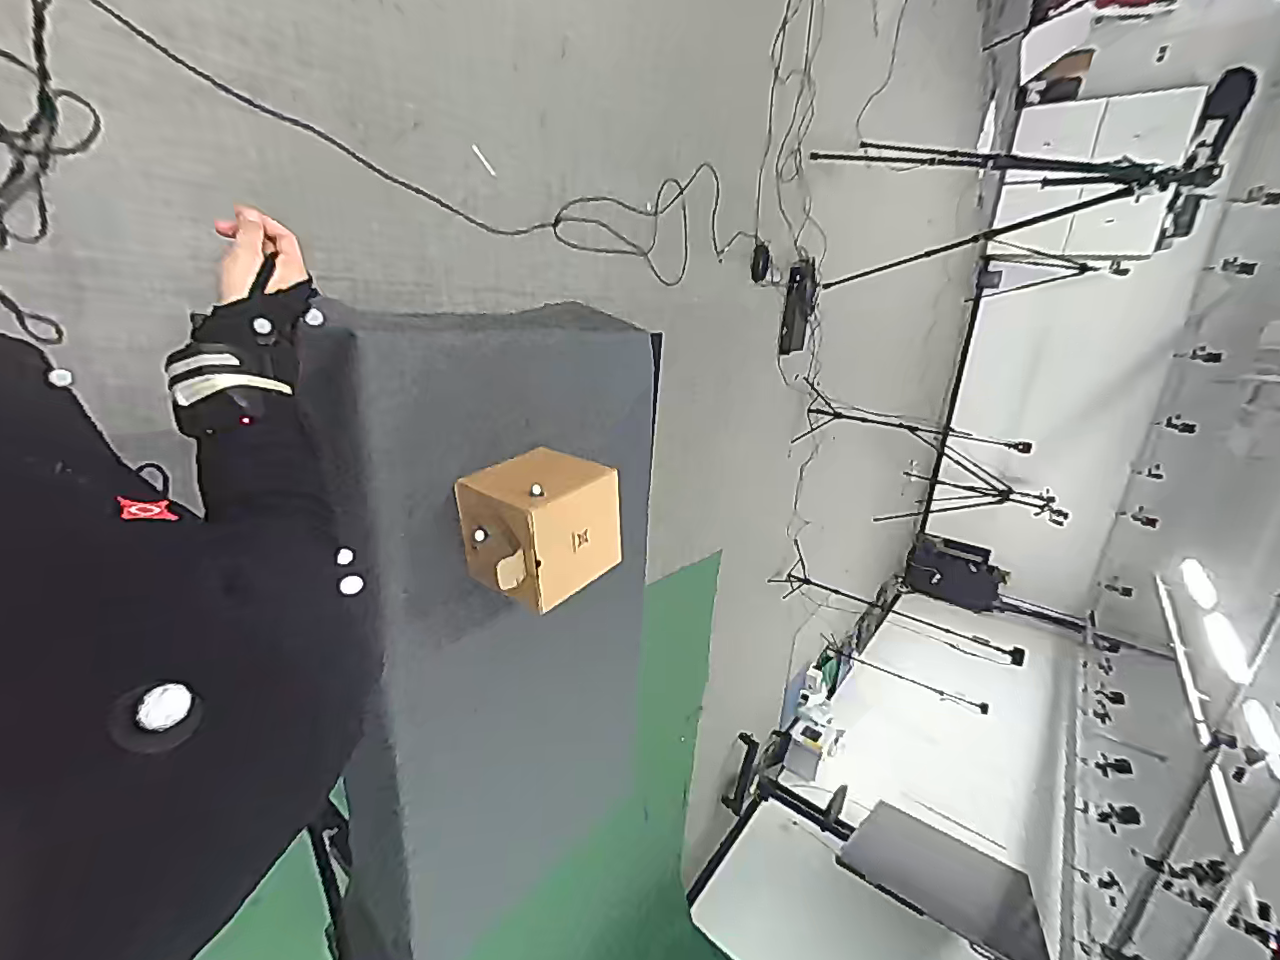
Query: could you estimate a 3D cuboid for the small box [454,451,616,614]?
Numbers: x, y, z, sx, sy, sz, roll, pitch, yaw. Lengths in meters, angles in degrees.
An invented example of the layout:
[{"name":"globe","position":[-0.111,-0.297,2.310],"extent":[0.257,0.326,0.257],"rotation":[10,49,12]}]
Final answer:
[{"name":"small box","position":[-0.156,0.068,0.834],"extent":[0.179,0.176,0.168],"rotation":[-29,127,-45]}]
